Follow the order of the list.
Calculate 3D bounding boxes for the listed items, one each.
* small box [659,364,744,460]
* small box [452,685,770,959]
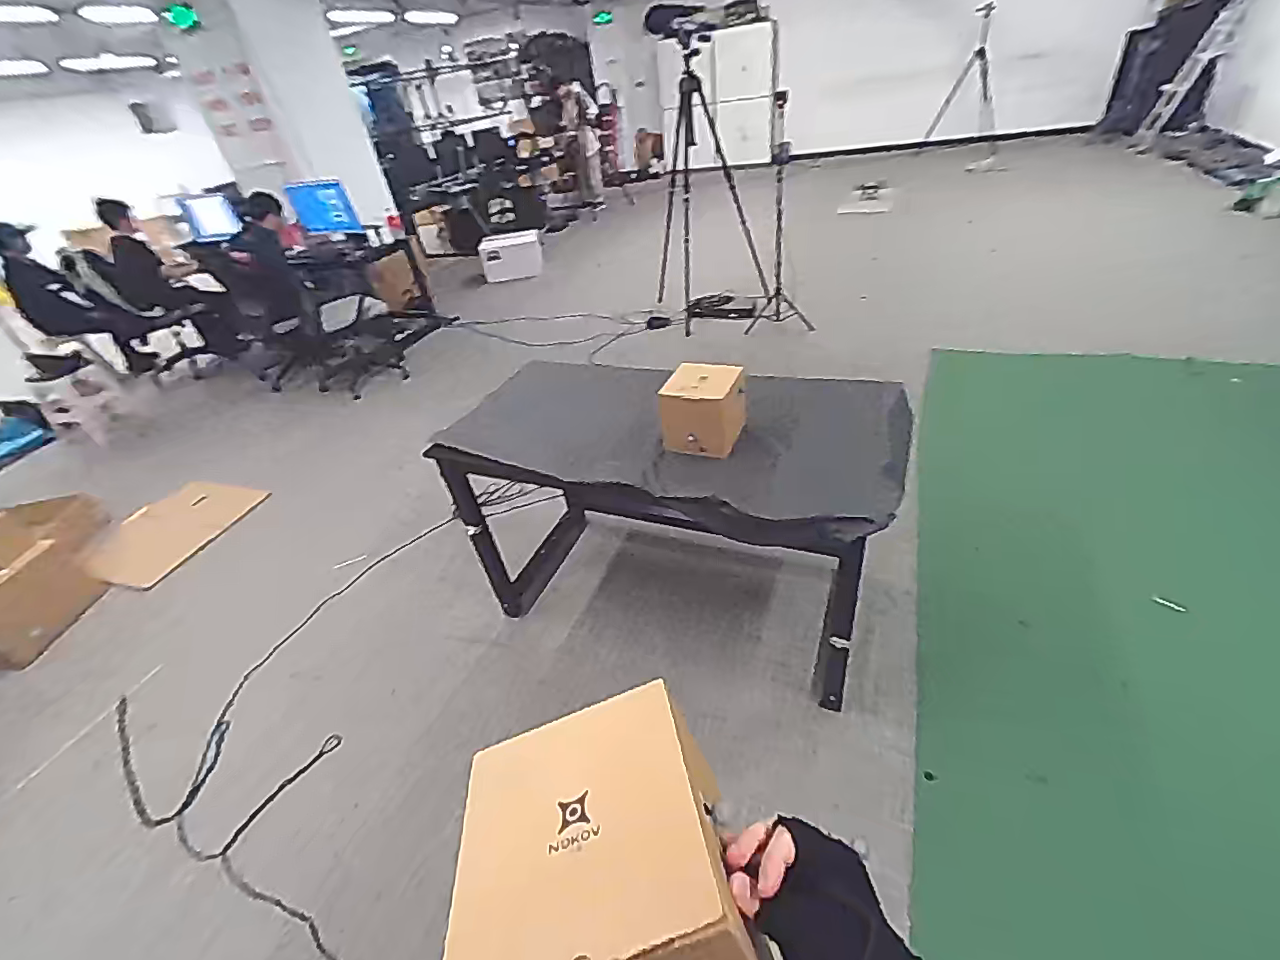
[{"bbox_3d":[0.160,-0.175,1.372,0.168,0.176,0.179,10,40,24],"label":"small box"},{"bbox_3d":[-0.013,0.292,0.388,0.168,0.176,0.179,-21,27,-1],"label":"small box"}]
